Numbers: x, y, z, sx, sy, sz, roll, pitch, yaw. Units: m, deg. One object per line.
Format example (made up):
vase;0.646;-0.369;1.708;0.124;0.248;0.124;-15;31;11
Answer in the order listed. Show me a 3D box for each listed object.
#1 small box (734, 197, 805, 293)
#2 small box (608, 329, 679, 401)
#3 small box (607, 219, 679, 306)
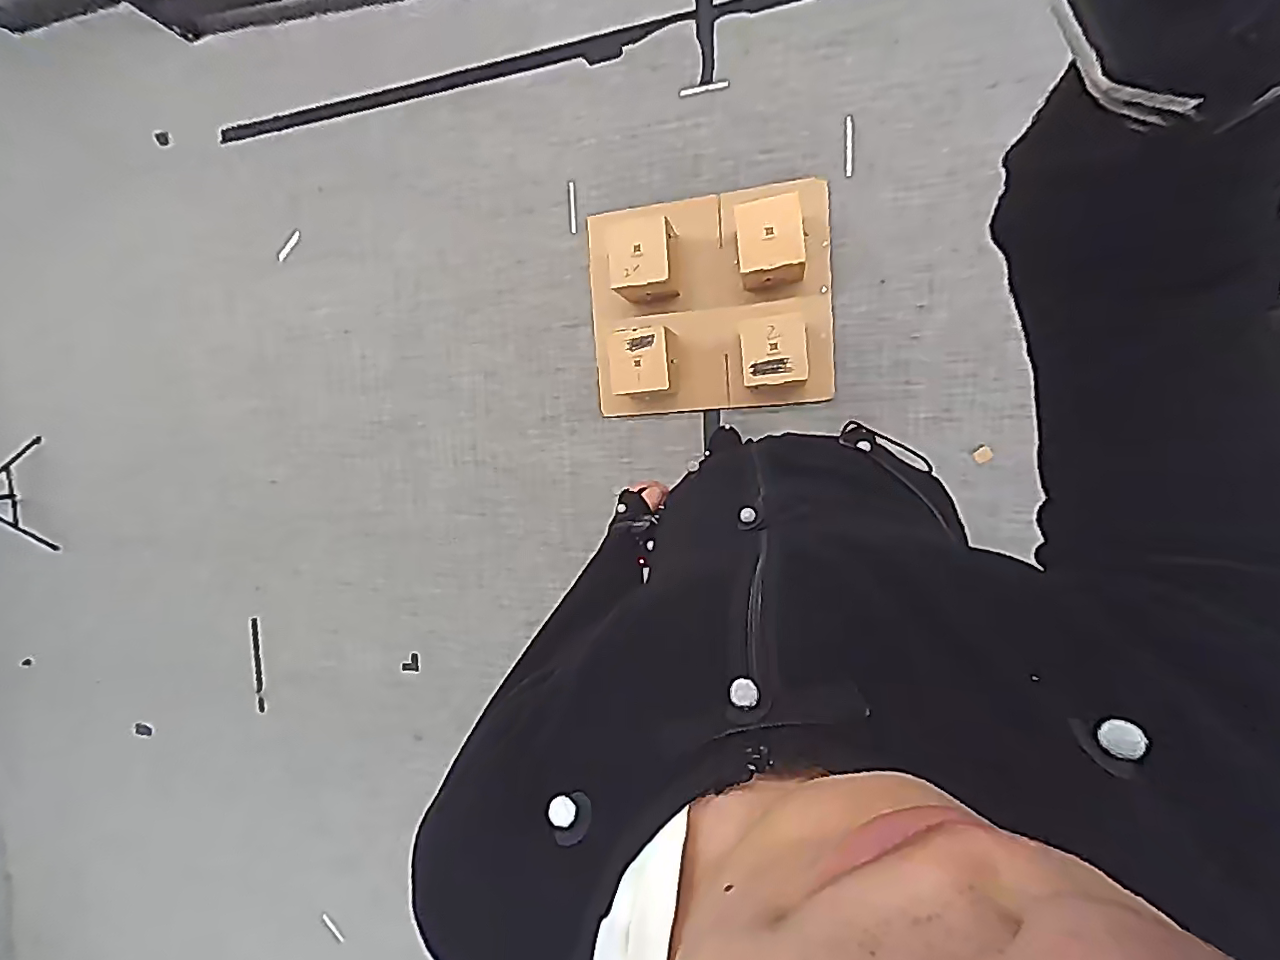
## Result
small box;0.347;-0.622;1.453;0.168;0.176;0.179;-6;94;15
small box;0.014;-0.326;1.565;0.168;0.176;0.179;-4;96;16
small box;0.013;-0.610;1.535;0.168;0.176;0.179;-3;95;16
